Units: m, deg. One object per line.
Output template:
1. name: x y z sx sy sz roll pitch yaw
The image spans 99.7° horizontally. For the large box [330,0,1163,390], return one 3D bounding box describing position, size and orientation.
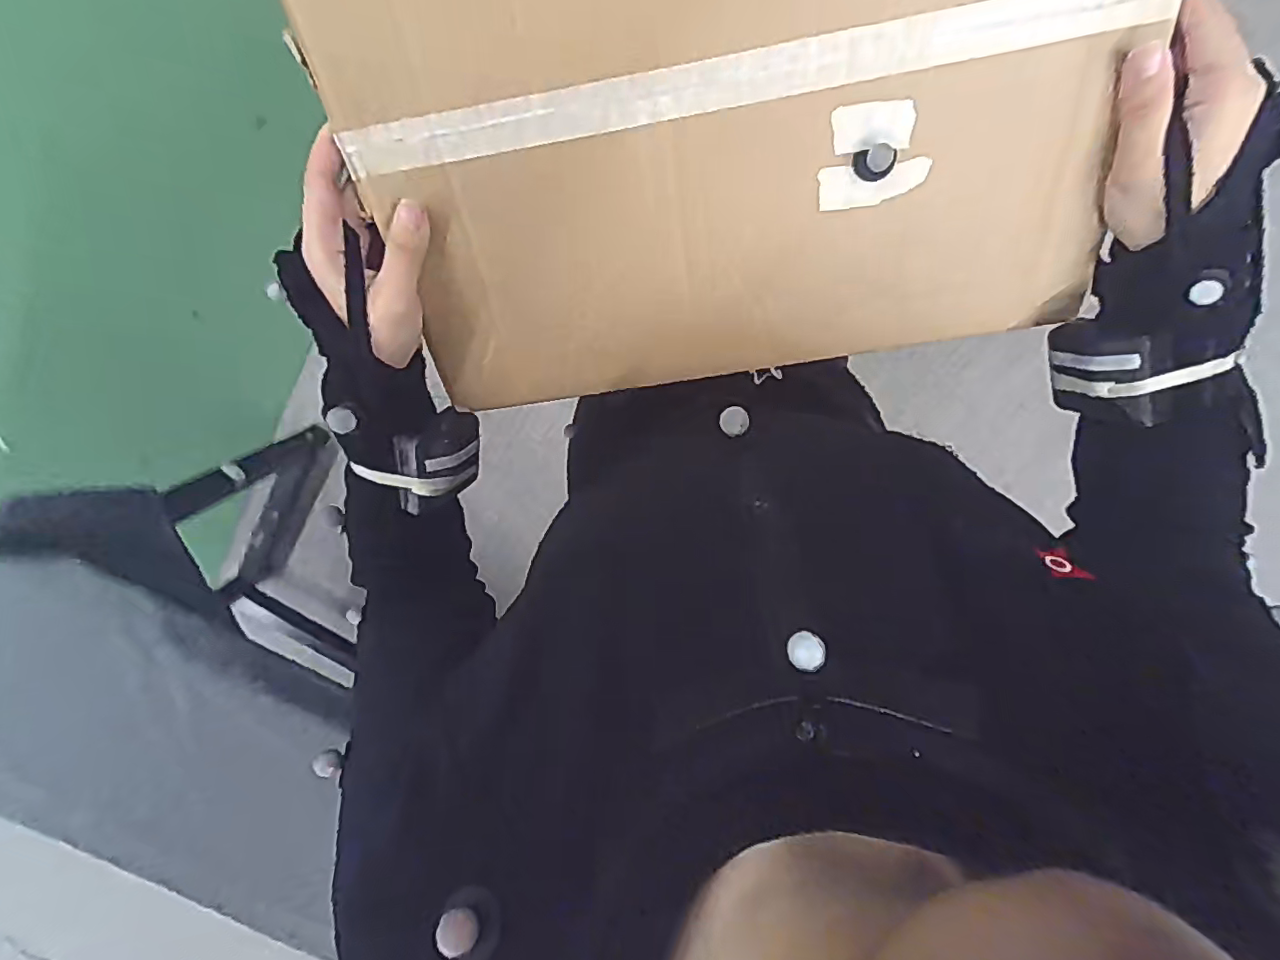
1. large box: 0.050 -0.299 0.392 0.408 0.320 0.320 -8 127 3
